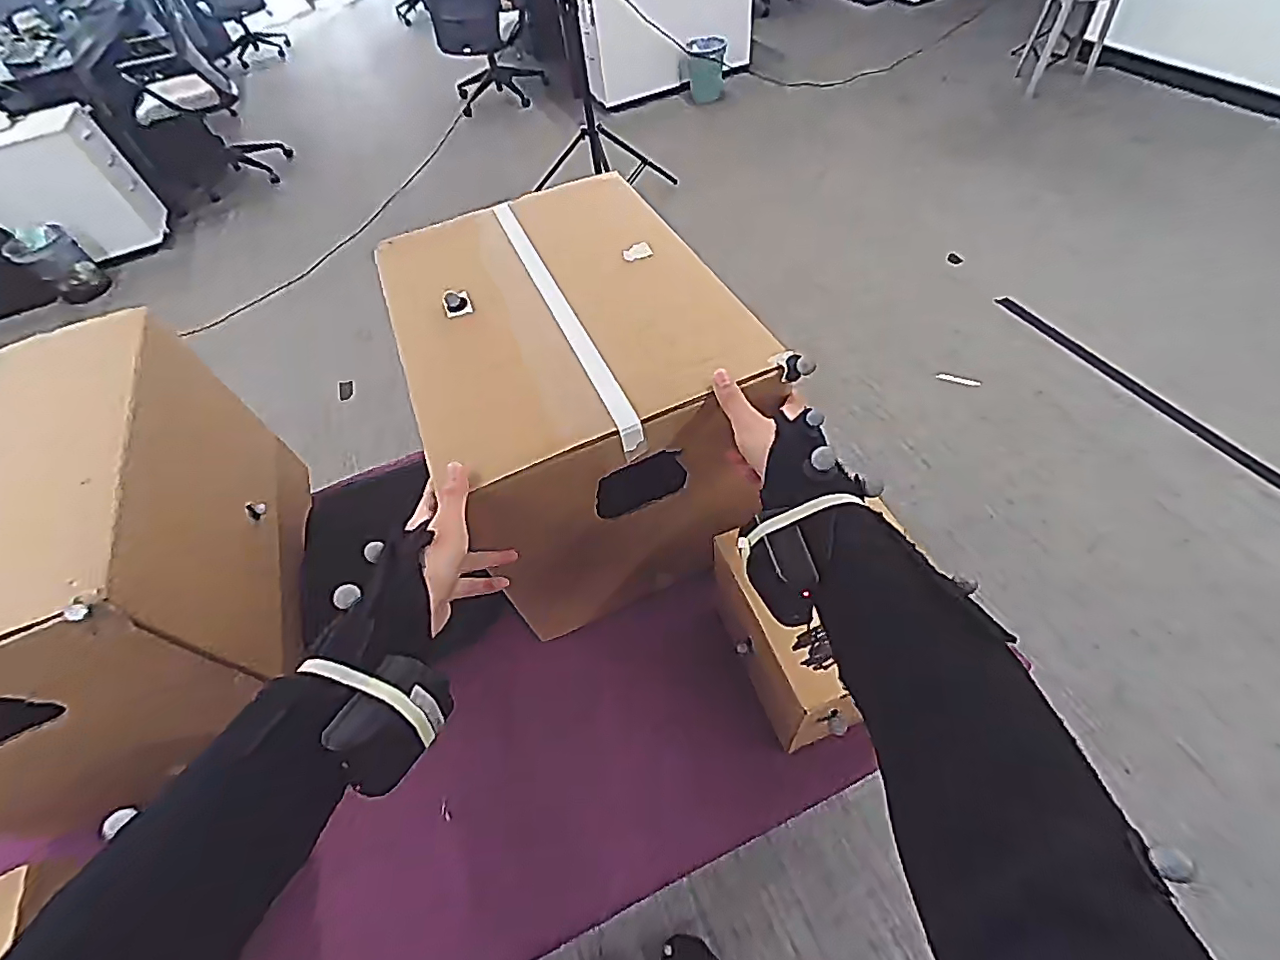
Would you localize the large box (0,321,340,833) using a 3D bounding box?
[{"bbox_3d":[-0.589,0.102,0.602,0.320,0.320,0.408,-25,57,-10],"label":"large box"}]
